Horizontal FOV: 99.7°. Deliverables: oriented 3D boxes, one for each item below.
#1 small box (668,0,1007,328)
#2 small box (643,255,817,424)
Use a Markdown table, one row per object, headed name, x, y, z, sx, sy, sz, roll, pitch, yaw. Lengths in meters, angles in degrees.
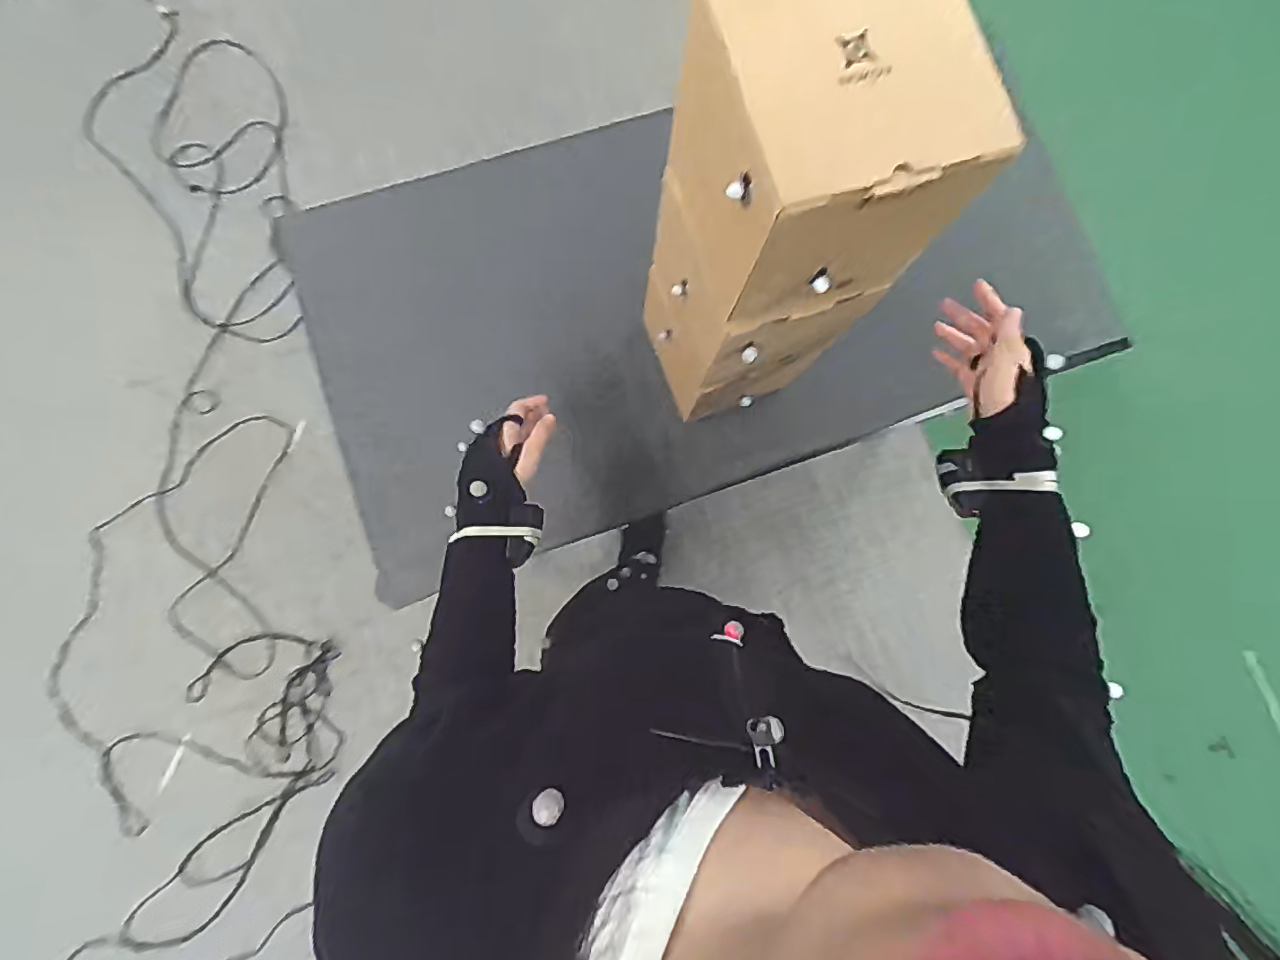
| name | x | y | z | sx | sy | sz | roll | pitch | yaw |
| --- | --- | --- | --- | --- | --- | --- | --- | --- | --- |
| small box | 0.128 | -0.249 | 0.427 | 0.168 | 0.176 | 0.179 | -17 | 84 | -6 |
| small box | 0.110 | -0.198 | 0.749 | 0.168 | 0.176 | 0.179 | -21 | 85 | -5 |
